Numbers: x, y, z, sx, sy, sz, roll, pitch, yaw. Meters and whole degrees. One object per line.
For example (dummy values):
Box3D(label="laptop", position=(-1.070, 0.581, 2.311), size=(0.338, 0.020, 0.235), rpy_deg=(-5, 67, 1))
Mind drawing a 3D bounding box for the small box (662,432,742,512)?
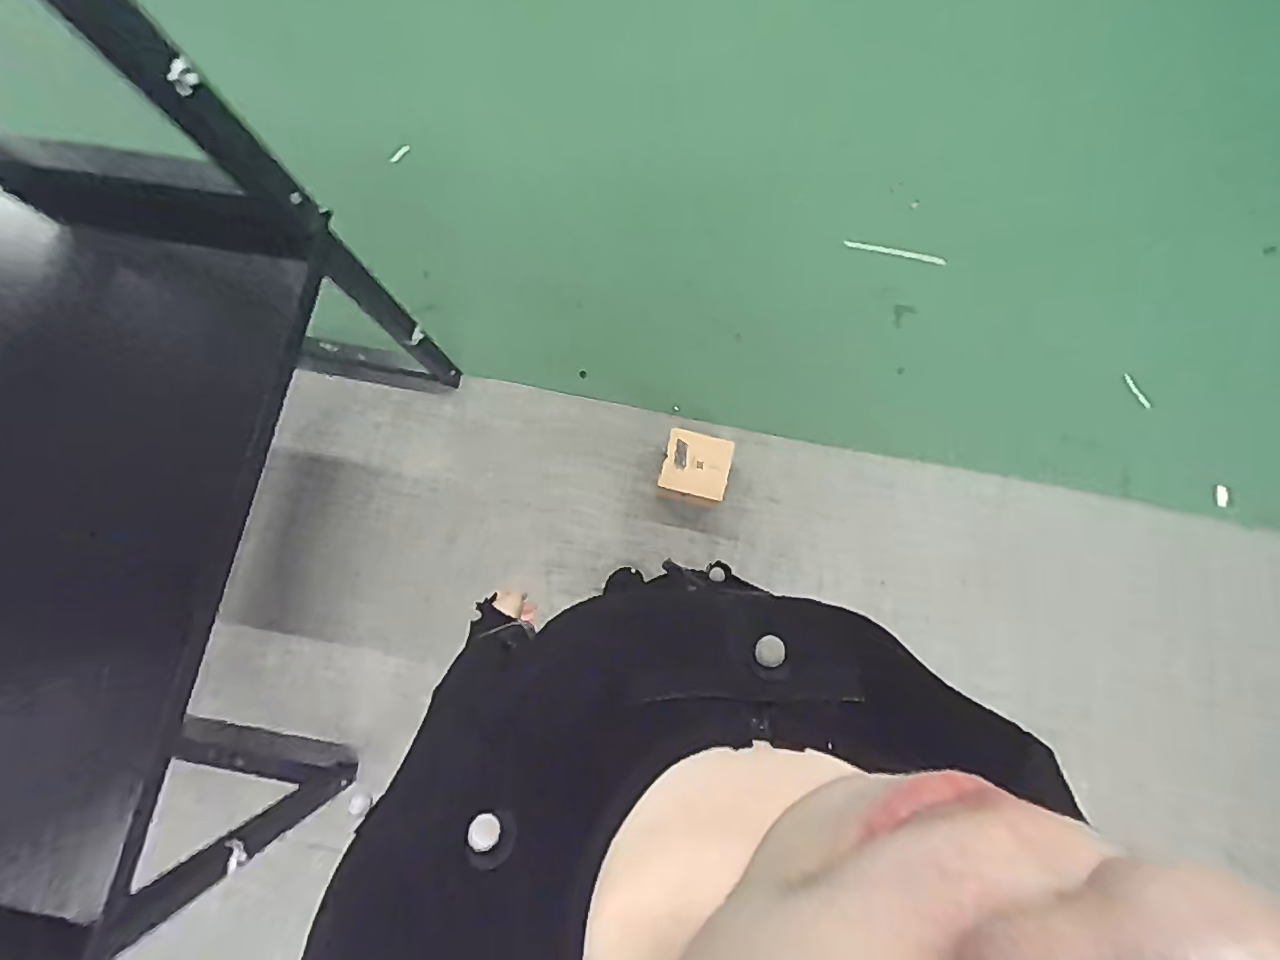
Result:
Box3D(label="small box", position=(0.163, -0.014, 1.474), size=(0.179, 0.176, 0.168), rpy_deg=(15, 81, 3))
